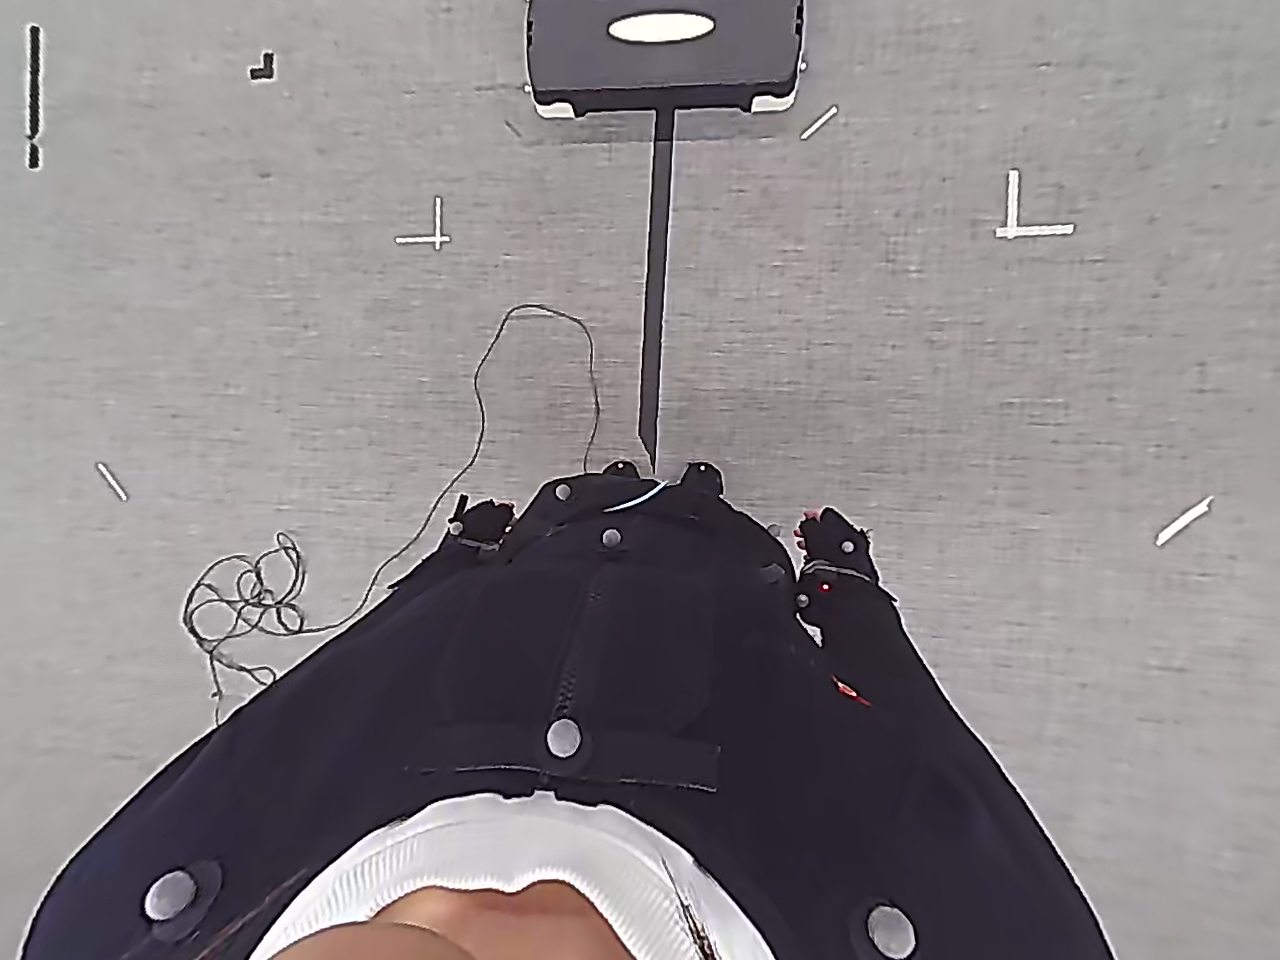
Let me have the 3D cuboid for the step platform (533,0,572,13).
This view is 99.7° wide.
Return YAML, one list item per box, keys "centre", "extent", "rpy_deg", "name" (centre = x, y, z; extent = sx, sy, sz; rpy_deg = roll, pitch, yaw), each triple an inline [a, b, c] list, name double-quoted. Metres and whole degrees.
- centre: [0.040, -1.337, 1.268]
  extent: [0.684, 0.204, 0.286]
  rpy_deg: [1, 94, 5]
  name: "step platform"
